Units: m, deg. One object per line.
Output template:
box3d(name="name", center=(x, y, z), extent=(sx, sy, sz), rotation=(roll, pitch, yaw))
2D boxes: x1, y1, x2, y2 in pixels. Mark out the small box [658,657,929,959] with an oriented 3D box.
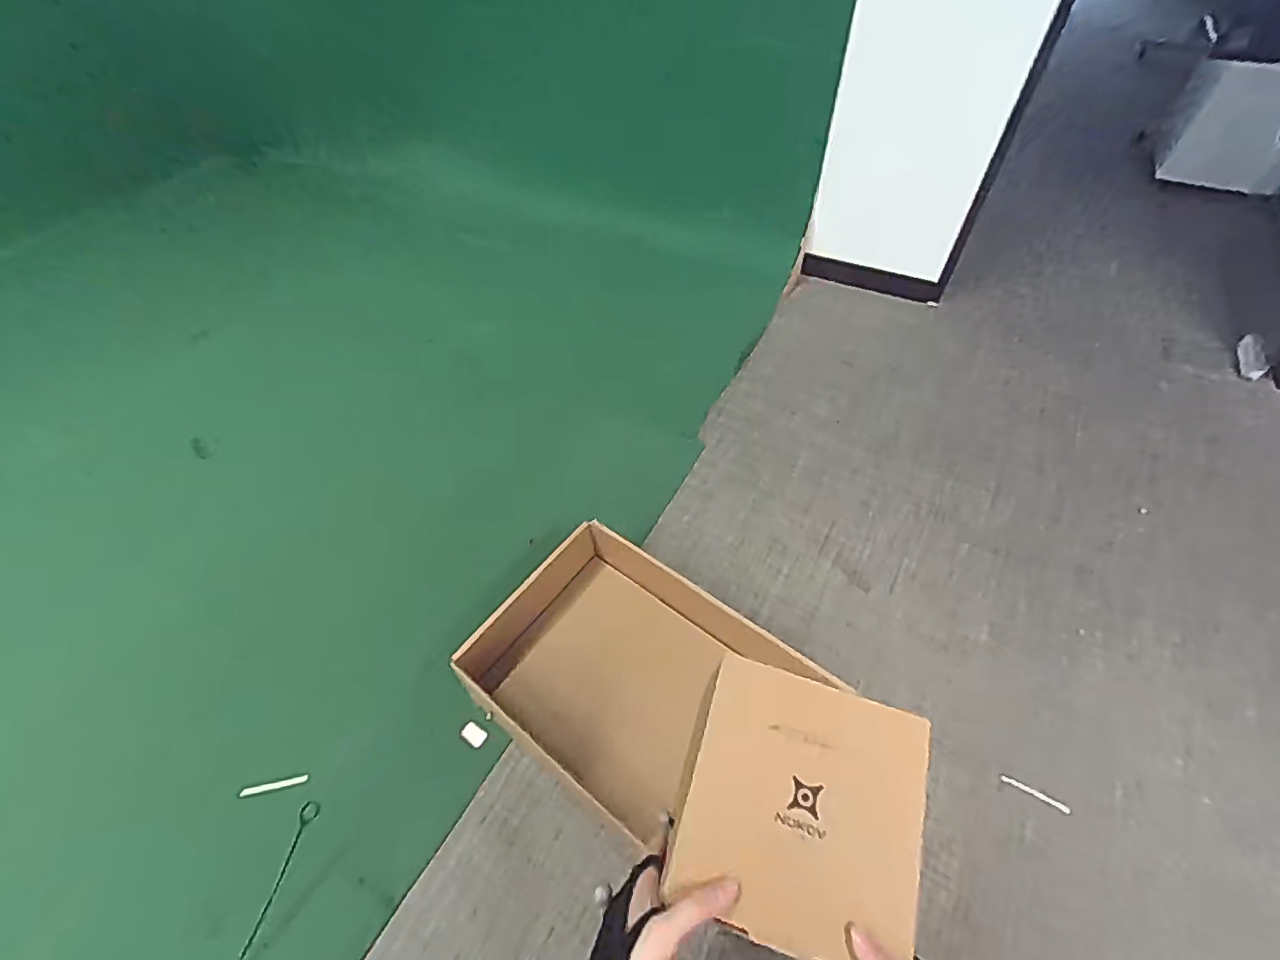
box3d(name="small box", center=(0.120, 0.279, 0.464), extent=(0.168, 0.176, 0.179), rotation=(17, 62, 10))
